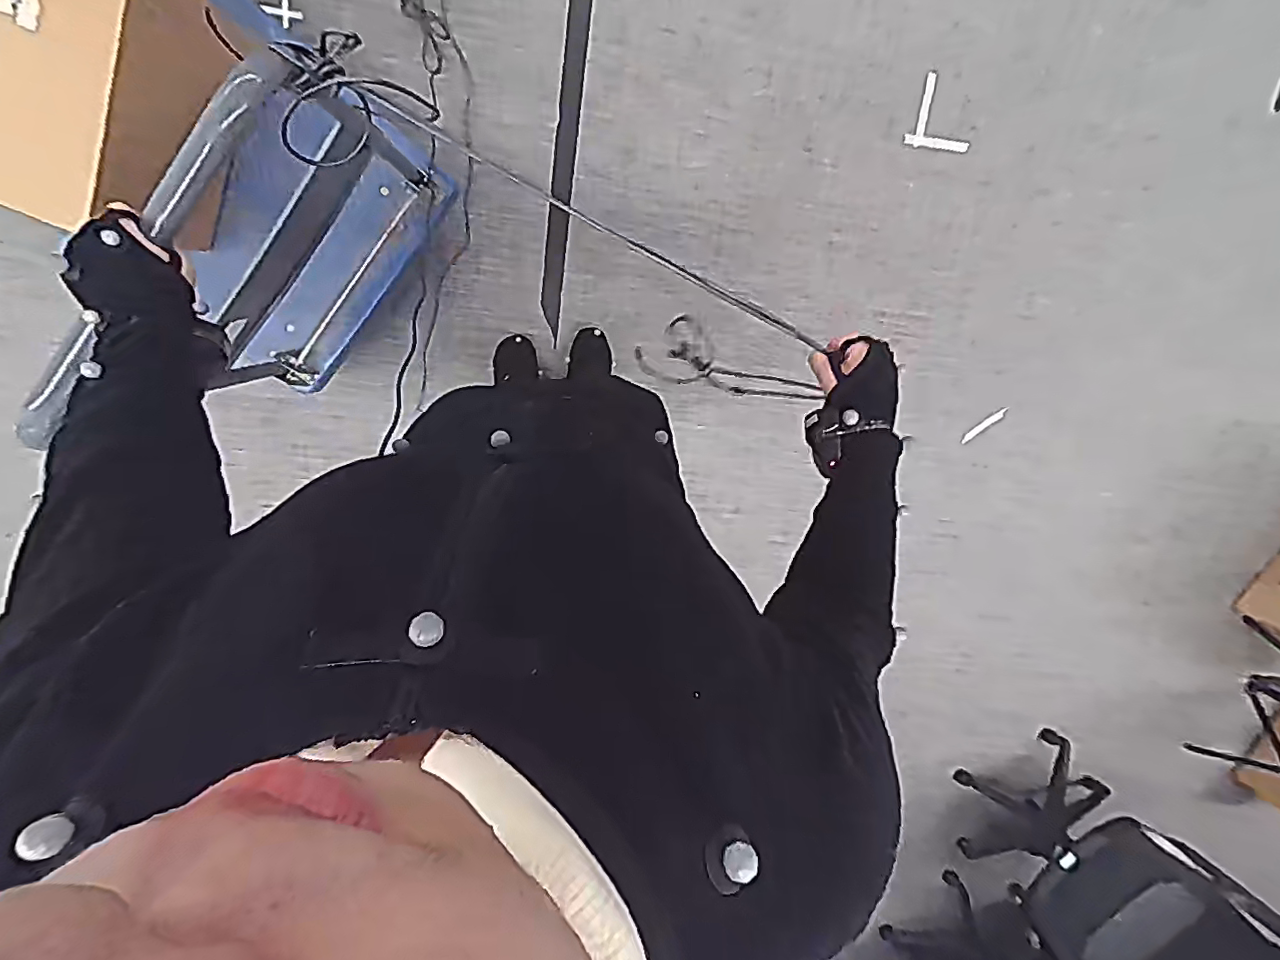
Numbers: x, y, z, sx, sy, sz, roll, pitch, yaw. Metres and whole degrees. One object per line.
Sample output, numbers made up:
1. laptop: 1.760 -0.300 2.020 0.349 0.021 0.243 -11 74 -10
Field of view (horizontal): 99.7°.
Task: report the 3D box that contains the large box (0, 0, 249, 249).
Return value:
1. large box: -0.908 -0.641 0.864 0.320 0.320 0.408 21 104 -15
